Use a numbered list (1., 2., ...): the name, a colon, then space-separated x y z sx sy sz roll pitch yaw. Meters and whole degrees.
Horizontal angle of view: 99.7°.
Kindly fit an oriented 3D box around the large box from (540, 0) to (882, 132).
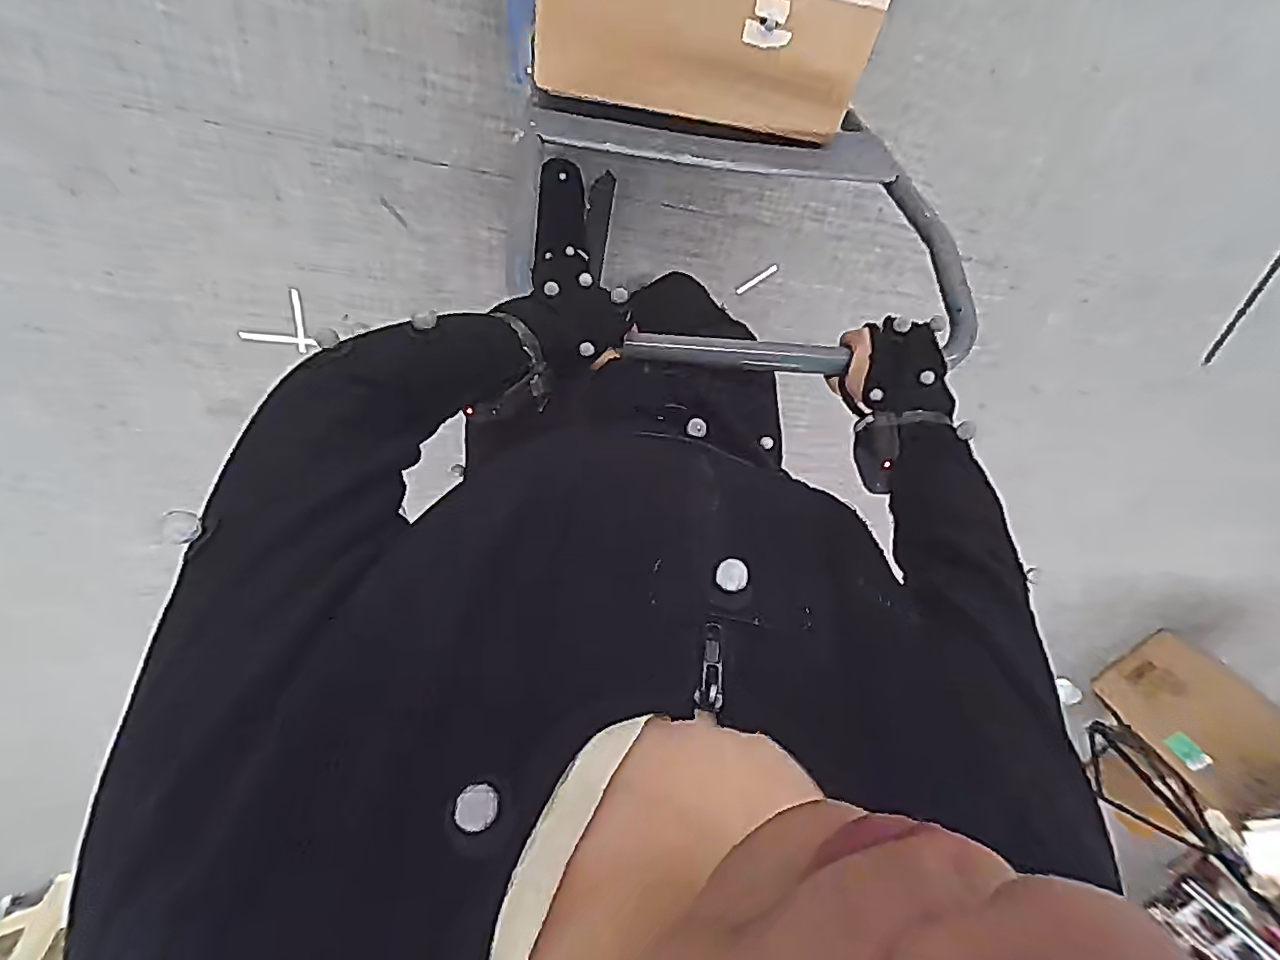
1. large box: 0.079 -0.694 0.691 0.408 0.320 0.320 3 139 -11
